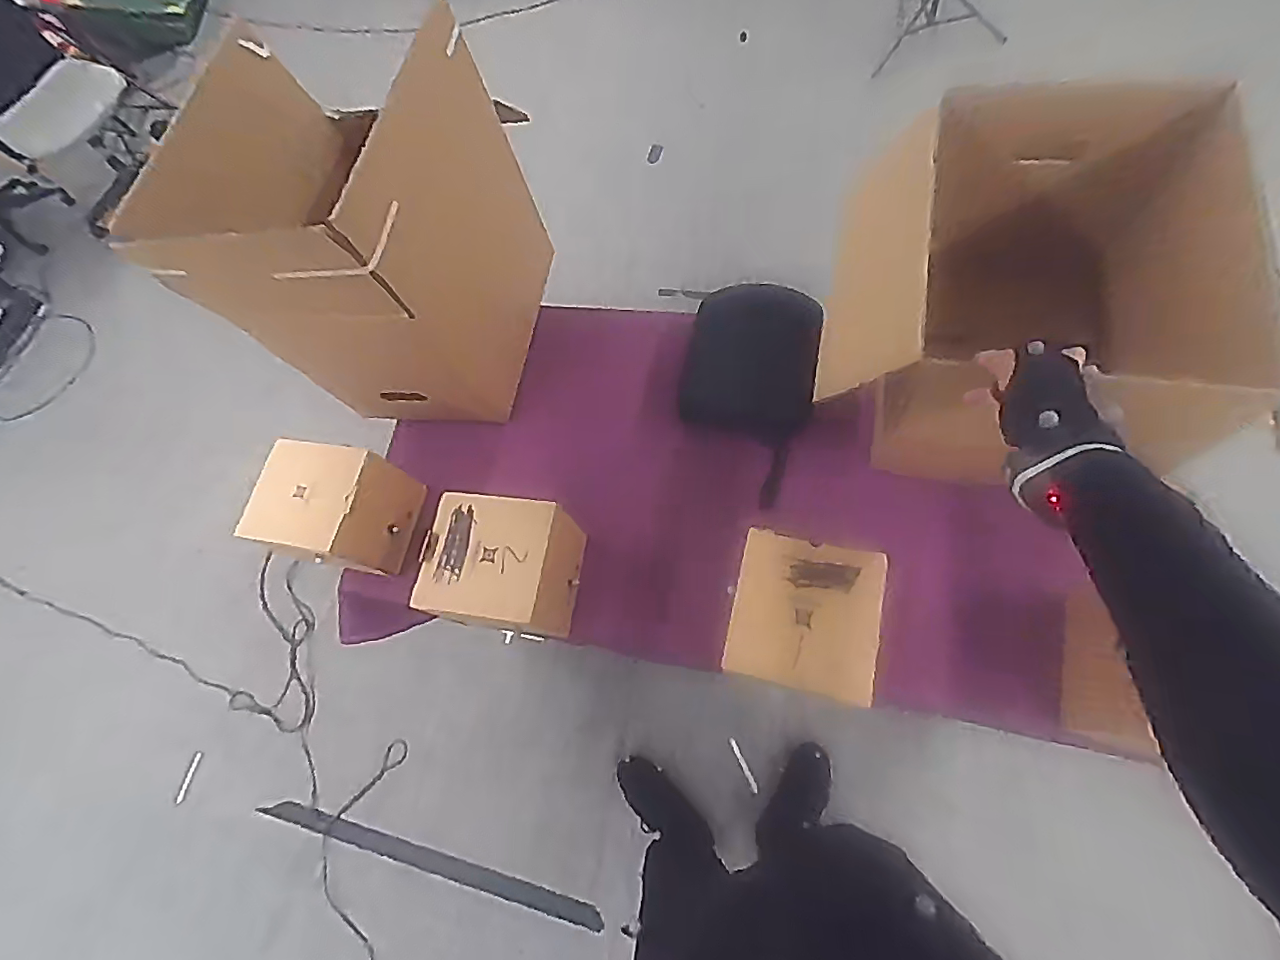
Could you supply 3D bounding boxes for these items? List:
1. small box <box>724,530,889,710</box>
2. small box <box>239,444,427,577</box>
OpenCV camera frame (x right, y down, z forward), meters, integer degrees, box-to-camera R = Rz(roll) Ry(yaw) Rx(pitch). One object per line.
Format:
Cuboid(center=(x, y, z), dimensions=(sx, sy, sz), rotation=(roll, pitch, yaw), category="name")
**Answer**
Cuboid(center=(0.209, 0.184, 0.701), dimensions=(0.168, 0.176, 0.179), rotation=(10, 71, 16), category="small box")
Cuboid(center=(-0.492, 0.055, 0.892), dimensions=(0.179, 0.176, 0.168), rotation=(6, 70, 12), category="small box")
